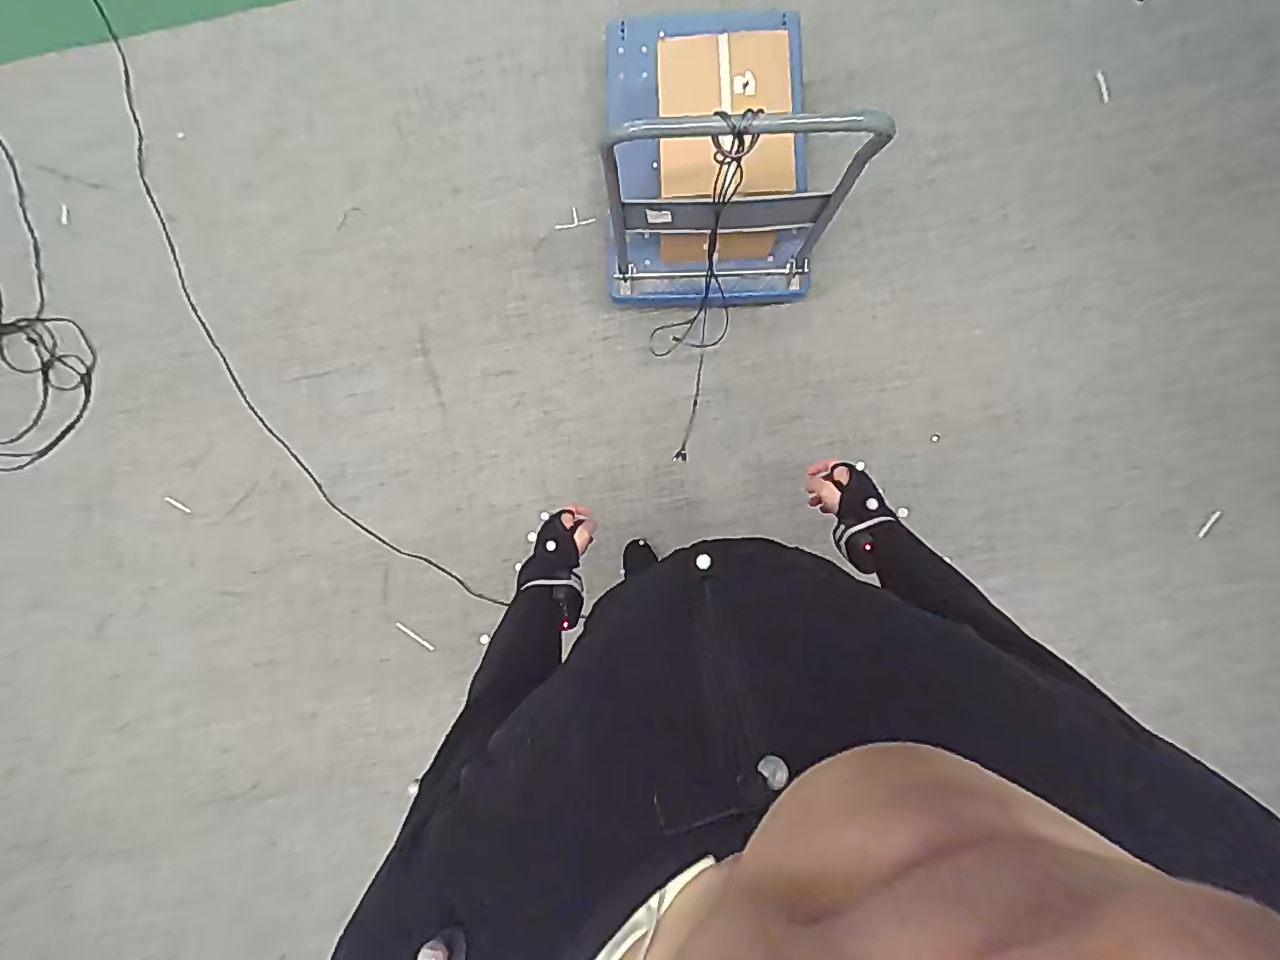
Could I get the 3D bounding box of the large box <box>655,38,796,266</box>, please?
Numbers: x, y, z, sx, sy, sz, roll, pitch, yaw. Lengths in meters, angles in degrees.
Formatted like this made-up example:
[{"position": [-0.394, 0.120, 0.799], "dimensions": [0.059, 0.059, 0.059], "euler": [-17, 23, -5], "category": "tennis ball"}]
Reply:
[{"position": [0.205, -0.825, 1.410], "dimensions": [0.320, 0.320, 0.408], "euler": [-1, 84, 2], "category": "large box"}]
